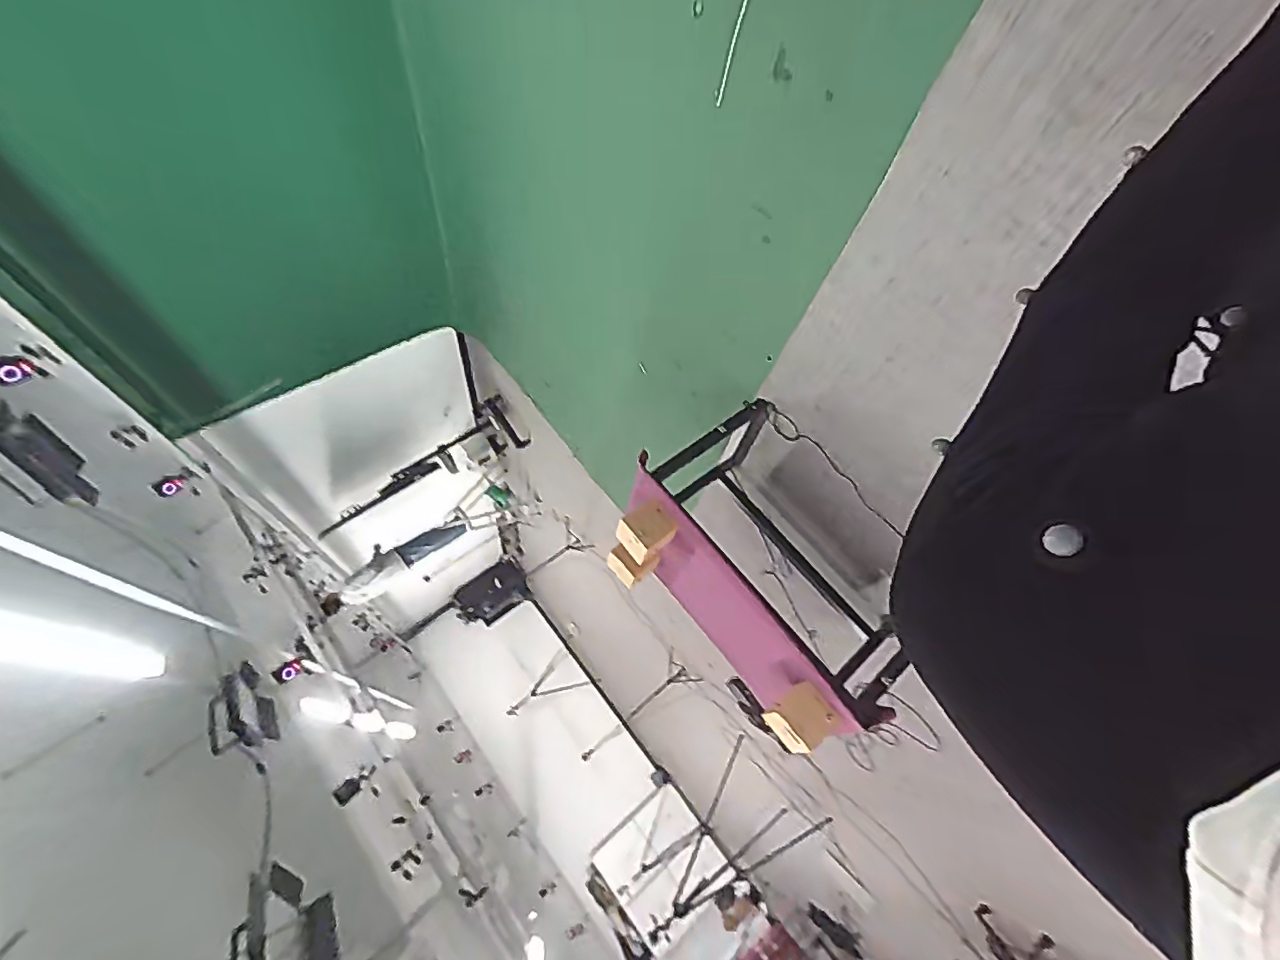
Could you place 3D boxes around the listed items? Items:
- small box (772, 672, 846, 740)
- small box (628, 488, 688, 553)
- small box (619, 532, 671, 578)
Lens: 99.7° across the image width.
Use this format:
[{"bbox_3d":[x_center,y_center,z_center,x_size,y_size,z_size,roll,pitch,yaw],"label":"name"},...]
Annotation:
[{"bbox_3d":[0.622,0.825,1.980,0.168,0.176,0.179,50,159,17],"label":"small box"},{"bbox_3d":[0.074,0.166,2.199,0.168,0.176,0.179,49,156,15],"label":"small box"},{"bbox_3d":[0.025,0.325,2.513,0.168,0.176,0.179,46,155,16],"label":"small box"}]
